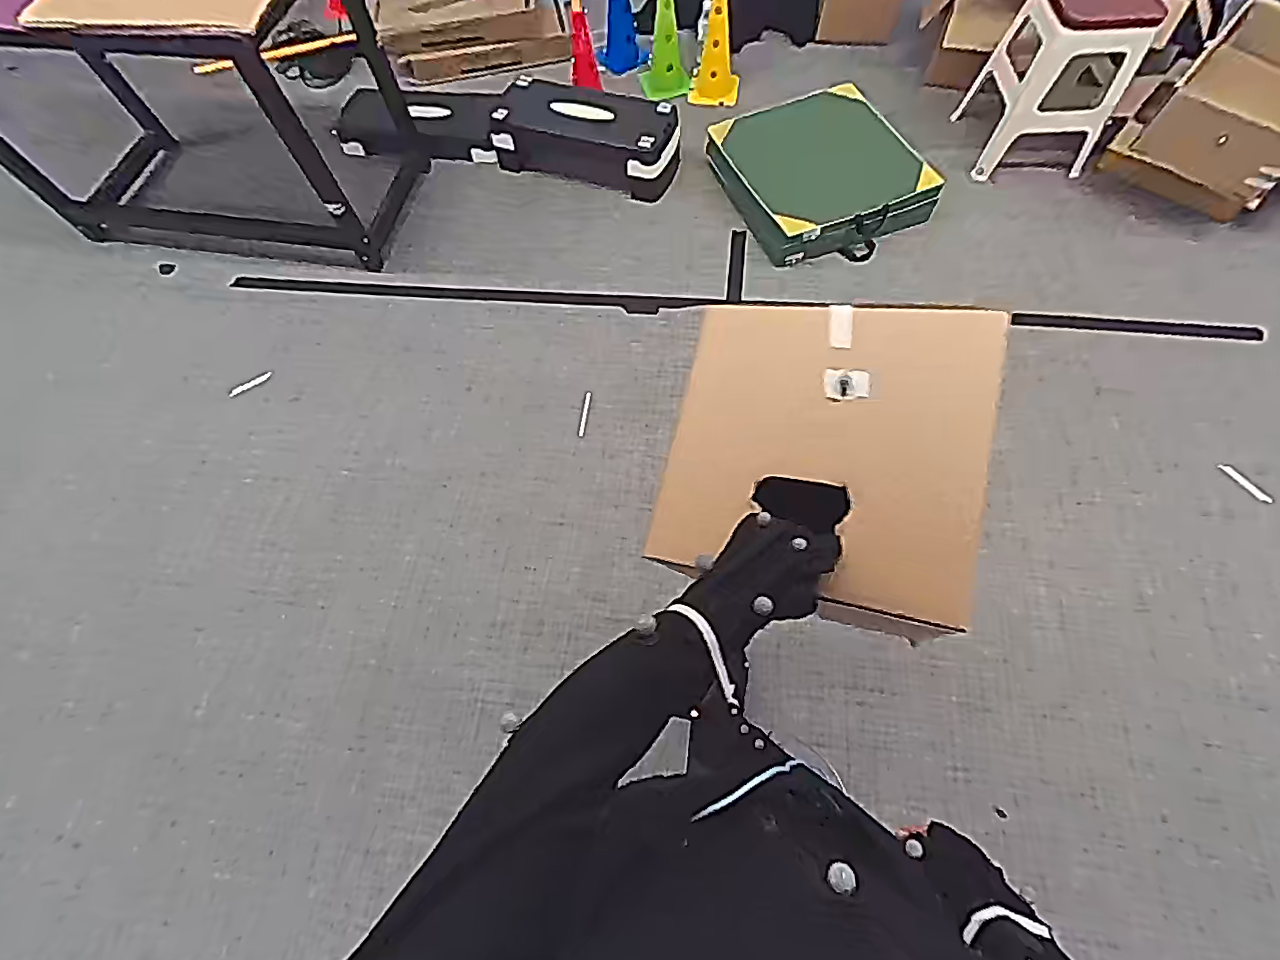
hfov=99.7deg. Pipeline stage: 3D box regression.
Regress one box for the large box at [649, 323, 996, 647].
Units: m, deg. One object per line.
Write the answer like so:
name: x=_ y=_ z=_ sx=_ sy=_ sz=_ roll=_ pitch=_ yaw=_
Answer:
large box: x=0.259 y=0.026 z=0.732 sx=0.320 sy=0.408 sz=0.320 roll=11 pitch=78 yaw=28
